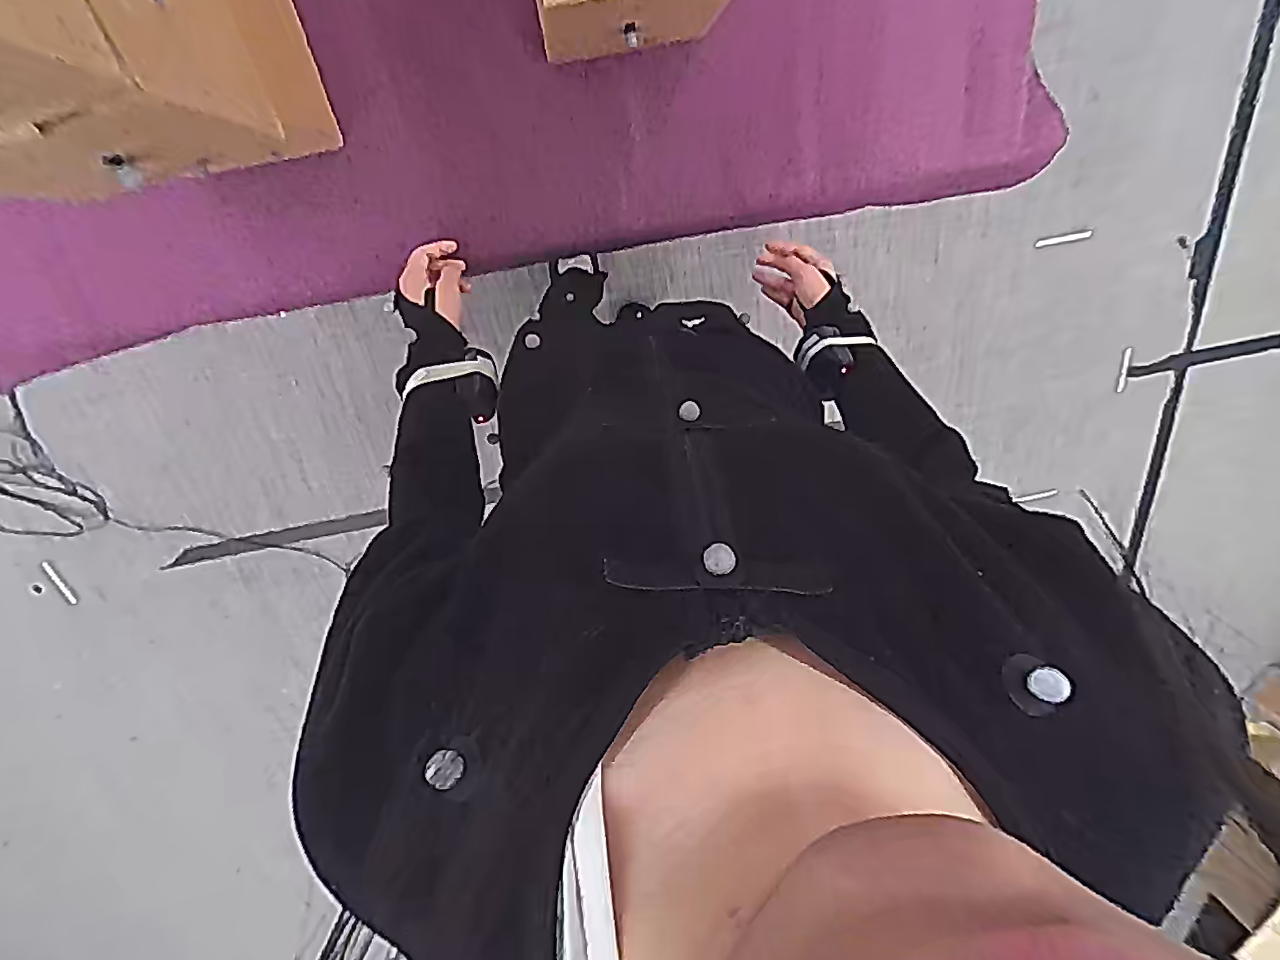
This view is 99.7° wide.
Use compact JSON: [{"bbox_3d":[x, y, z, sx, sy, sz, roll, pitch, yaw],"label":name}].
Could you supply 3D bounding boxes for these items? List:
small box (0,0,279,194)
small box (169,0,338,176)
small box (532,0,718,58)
[{"bbox_3d":[-0.365,-0.282,0.320,0.168,0.176,0.179,-17,116,0],"label":"small box"},{"bbox_3d":[-0.393,-0.369,0.457,0.168,0.176,0.179,-13,116,-2],"label":"small box"},{"bbox_3d":[-0.020,-0.484,0.453,0.168,0.176,0.179,-12,116,-3],"label":"small box"}]
